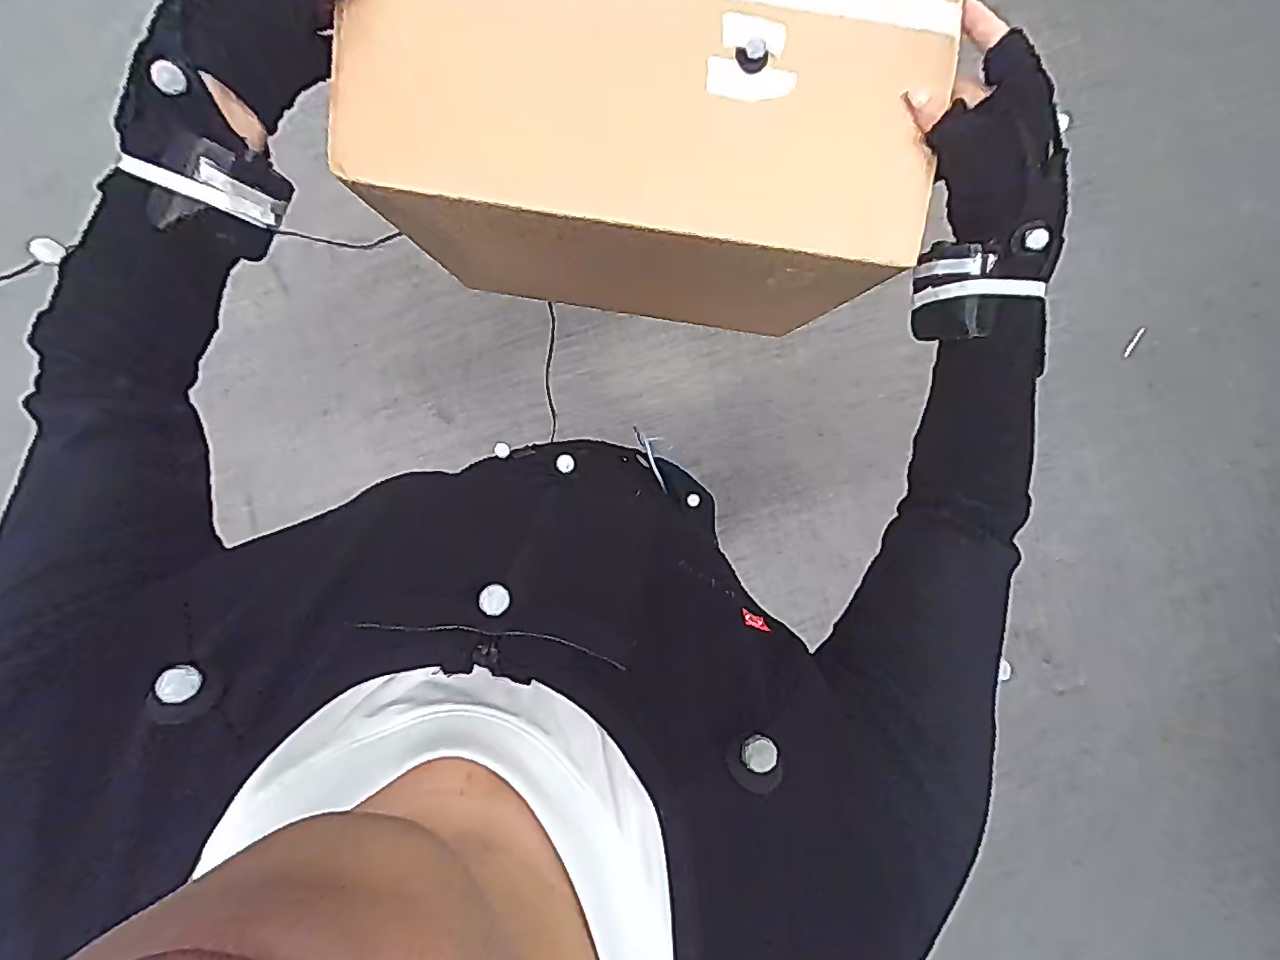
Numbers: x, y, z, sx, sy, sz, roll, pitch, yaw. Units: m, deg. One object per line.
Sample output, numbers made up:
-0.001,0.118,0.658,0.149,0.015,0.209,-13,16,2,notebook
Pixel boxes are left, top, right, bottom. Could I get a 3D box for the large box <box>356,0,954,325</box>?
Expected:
0.011,-0.350,0.513,0.408,0.320,0.320,7,97,-2,large box
